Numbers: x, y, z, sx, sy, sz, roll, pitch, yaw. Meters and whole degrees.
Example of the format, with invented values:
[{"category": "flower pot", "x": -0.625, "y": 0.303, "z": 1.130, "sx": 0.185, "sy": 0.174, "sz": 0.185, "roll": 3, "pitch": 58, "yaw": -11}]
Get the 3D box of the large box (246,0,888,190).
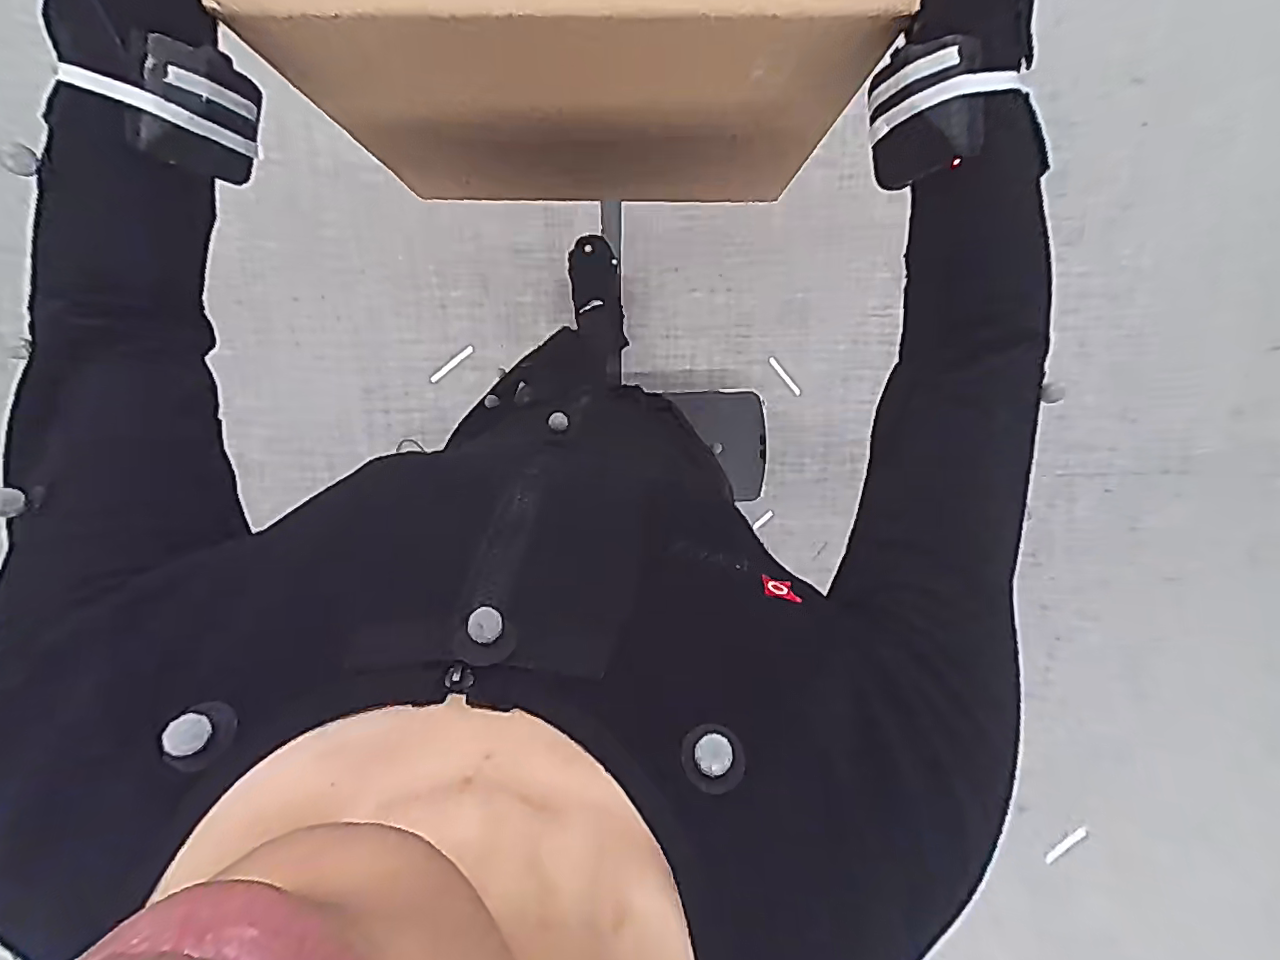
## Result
[{"category": "large box", "x": -0.047, "y": -0.457, "z": 0.438, "sx": 0.408, "sy": 0.320, "sz": 0.320, "roll": 0, "pitch": 100, "yaw": -1}]
